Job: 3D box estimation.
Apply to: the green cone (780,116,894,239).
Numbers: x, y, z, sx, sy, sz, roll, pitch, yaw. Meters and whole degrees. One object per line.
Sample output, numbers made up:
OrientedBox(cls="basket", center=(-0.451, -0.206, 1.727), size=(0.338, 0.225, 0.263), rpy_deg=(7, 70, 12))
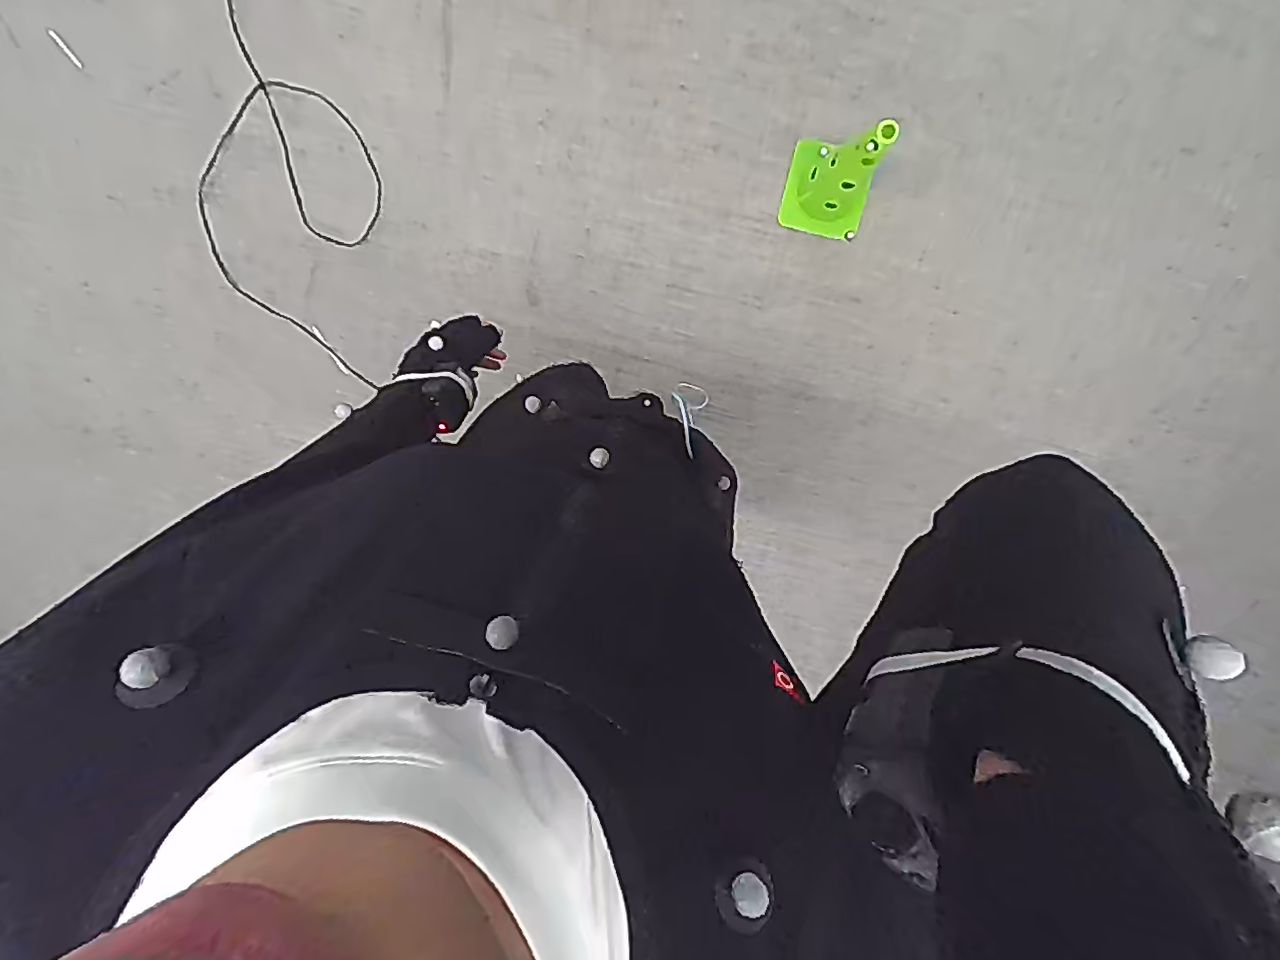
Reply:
OrientedBox(cls="green cone", center=(0.452, -0.674, 1.148), size=(0.202, 0.368, 0.200), rpy_deg=(13, 102, -1))
